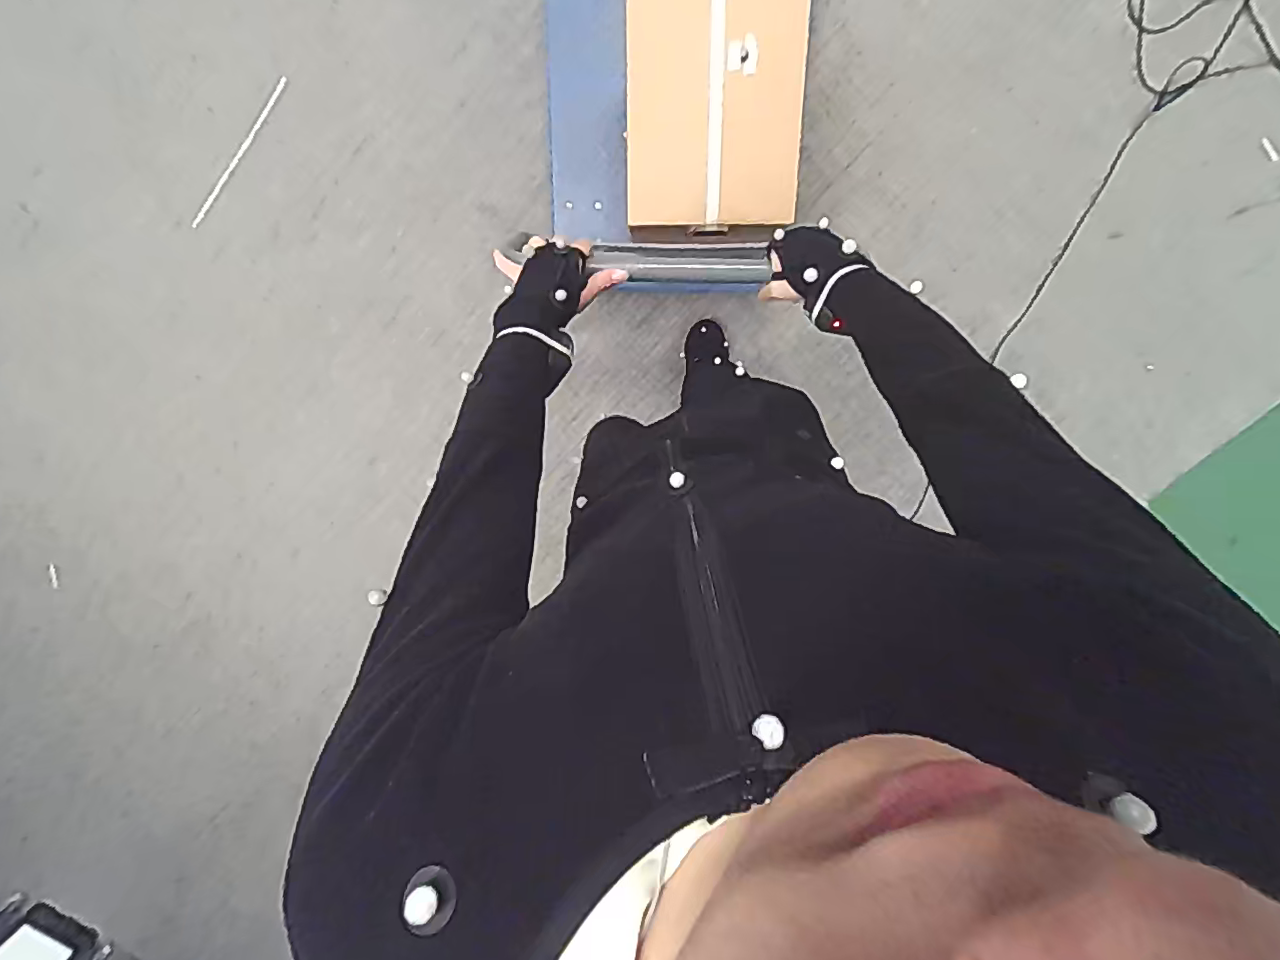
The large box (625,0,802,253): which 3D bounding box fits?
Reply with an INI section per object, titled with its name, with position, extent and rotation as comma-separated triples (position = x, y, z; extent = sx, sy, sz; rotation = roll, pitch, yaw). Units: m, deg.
[large box]
position = 0.137, -0.710, 1.126
extent = 0.320, 0.320, 0.408
rotation = 0, 105, 1
